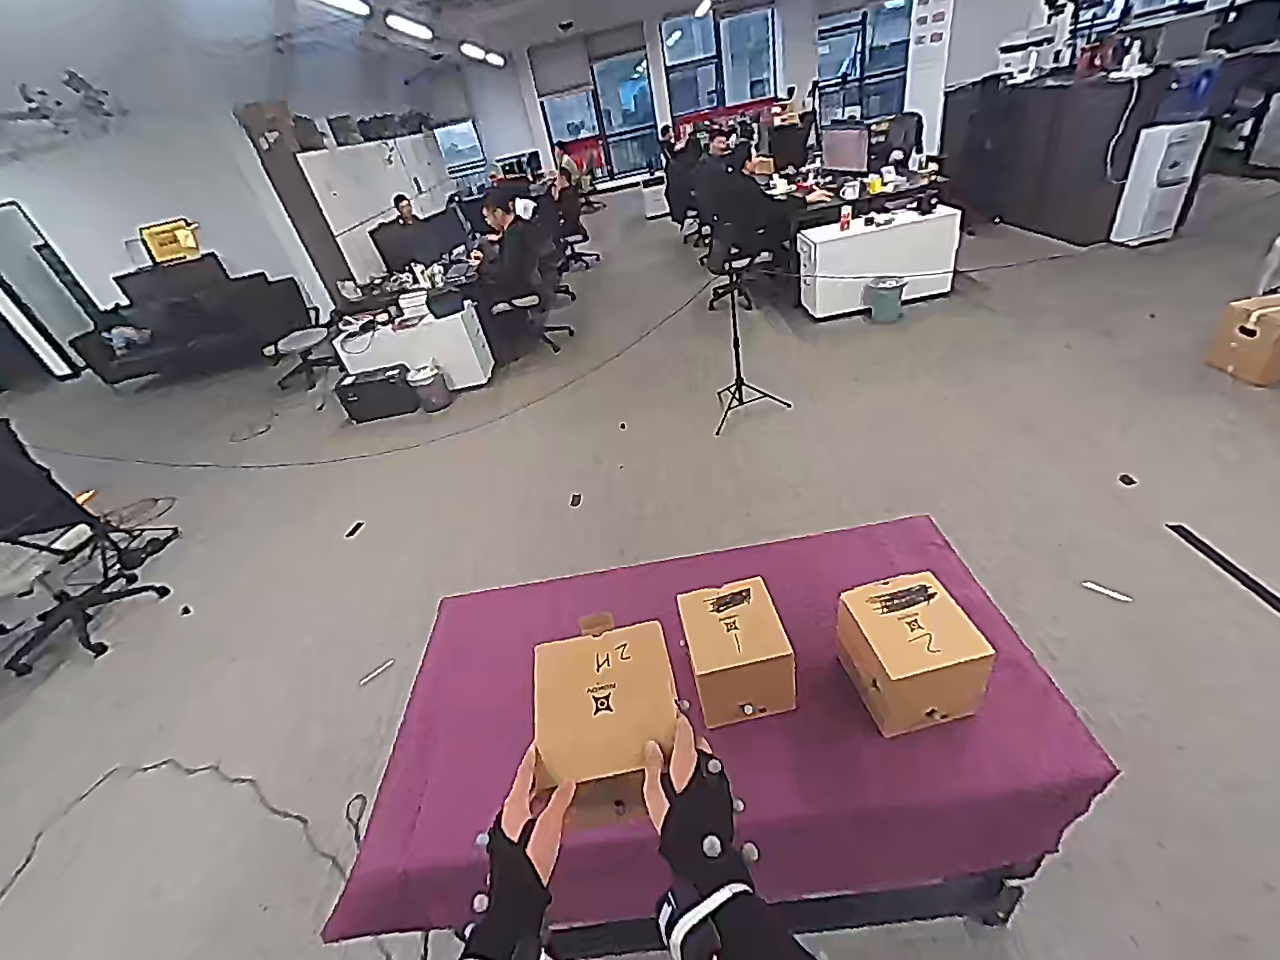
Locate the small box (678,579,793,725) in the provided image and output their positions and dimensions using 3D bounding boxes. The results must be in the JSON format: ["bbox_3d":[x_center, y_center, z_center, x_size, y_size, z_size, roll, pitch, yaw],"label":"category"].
[{"bbox_3d":[0.173,0.315,0.998,0.168,0.176,0.179,-13,35,0],"label":"small box"}]

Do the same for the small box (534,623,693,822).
[{"bbox_3d":[-0.032,0.317,0.698,0.168,0.176,0.179,-12,42,1],"label":"small box"}]
